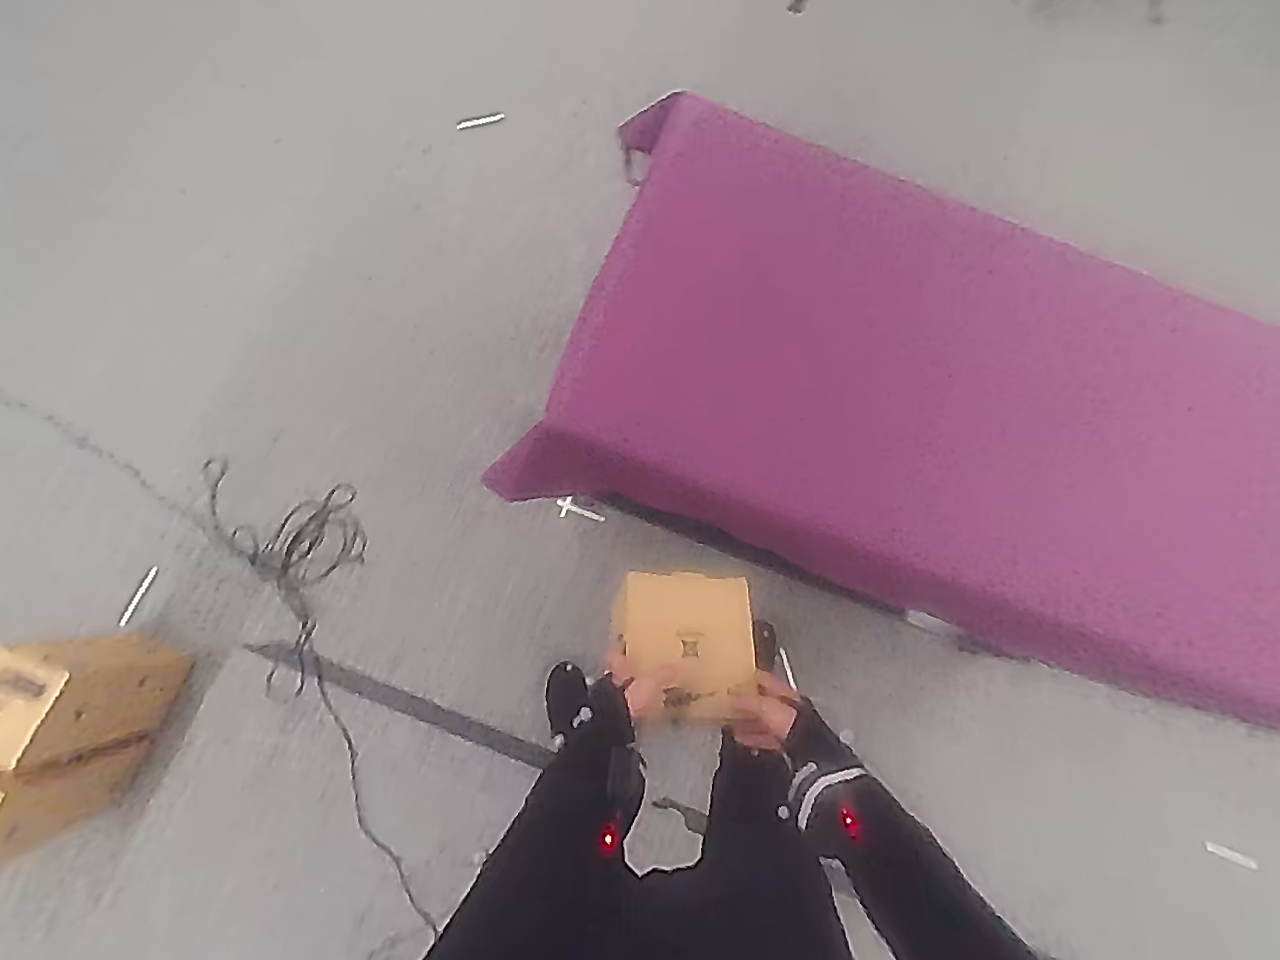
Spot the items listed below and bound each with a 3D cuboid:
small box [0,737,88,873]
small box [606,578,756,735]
[{"bbox_3d":[-1.208,0.613,1.006,0.168,0.176,0.179,26,80,2],"label":"small box"},{"bbox_3d":[0.043,0.244,0.733,0.168,0.176,0.179,3,62,-8],"label":"small box"}]
